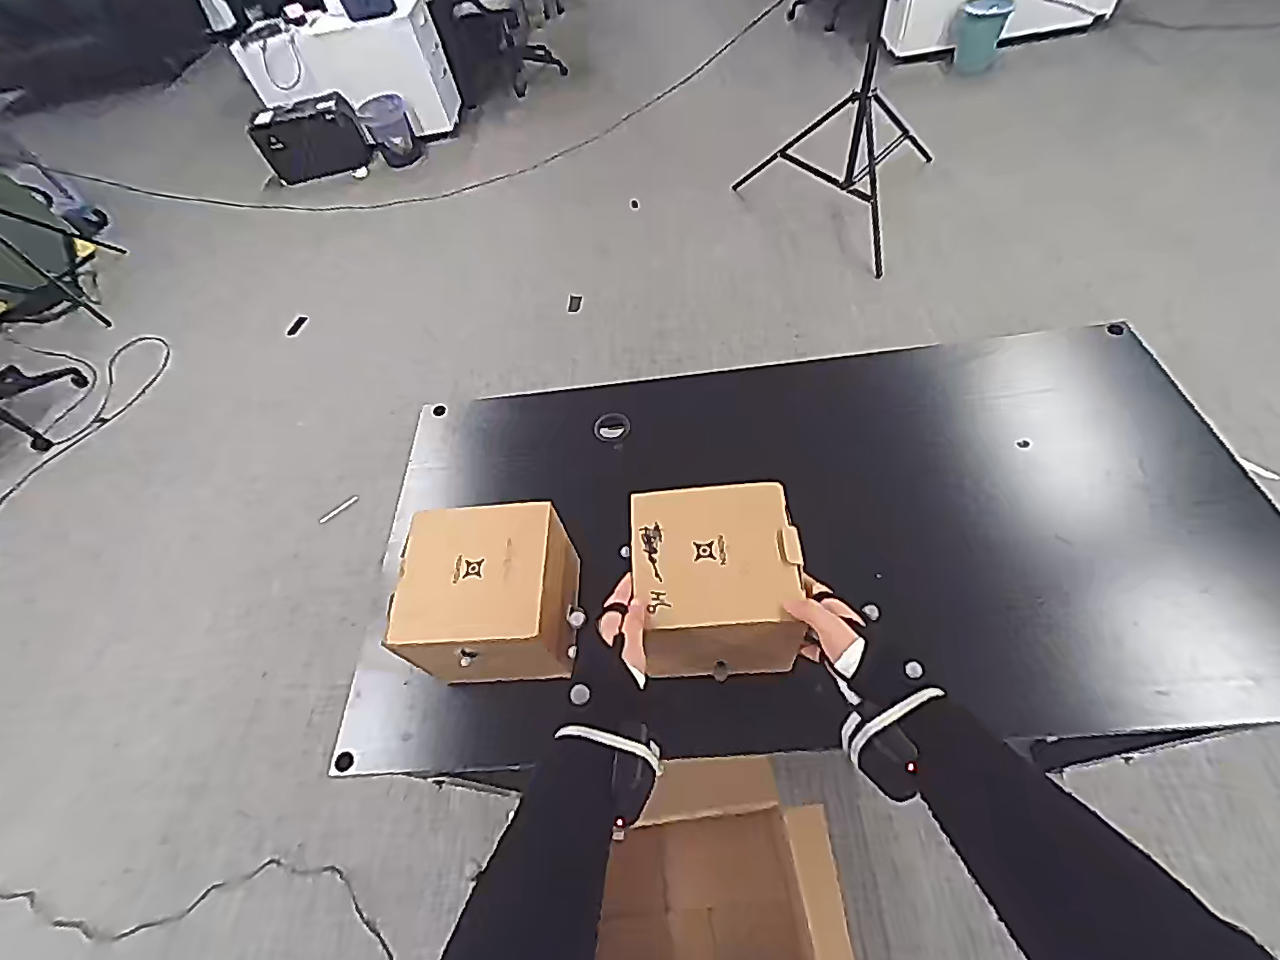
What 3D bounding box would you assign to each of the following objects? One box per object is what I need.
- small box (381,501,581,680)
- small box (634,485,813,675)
[{"bbox_3d":[-0.179,0.143,0.668,0.179,0.176,0.168,-5,57,5],"label":"small box"},{"bbox_3d":[0.087,0.123,0.636,0.179,0.176,0.168,-4,55,4],"label":"small box"}]
